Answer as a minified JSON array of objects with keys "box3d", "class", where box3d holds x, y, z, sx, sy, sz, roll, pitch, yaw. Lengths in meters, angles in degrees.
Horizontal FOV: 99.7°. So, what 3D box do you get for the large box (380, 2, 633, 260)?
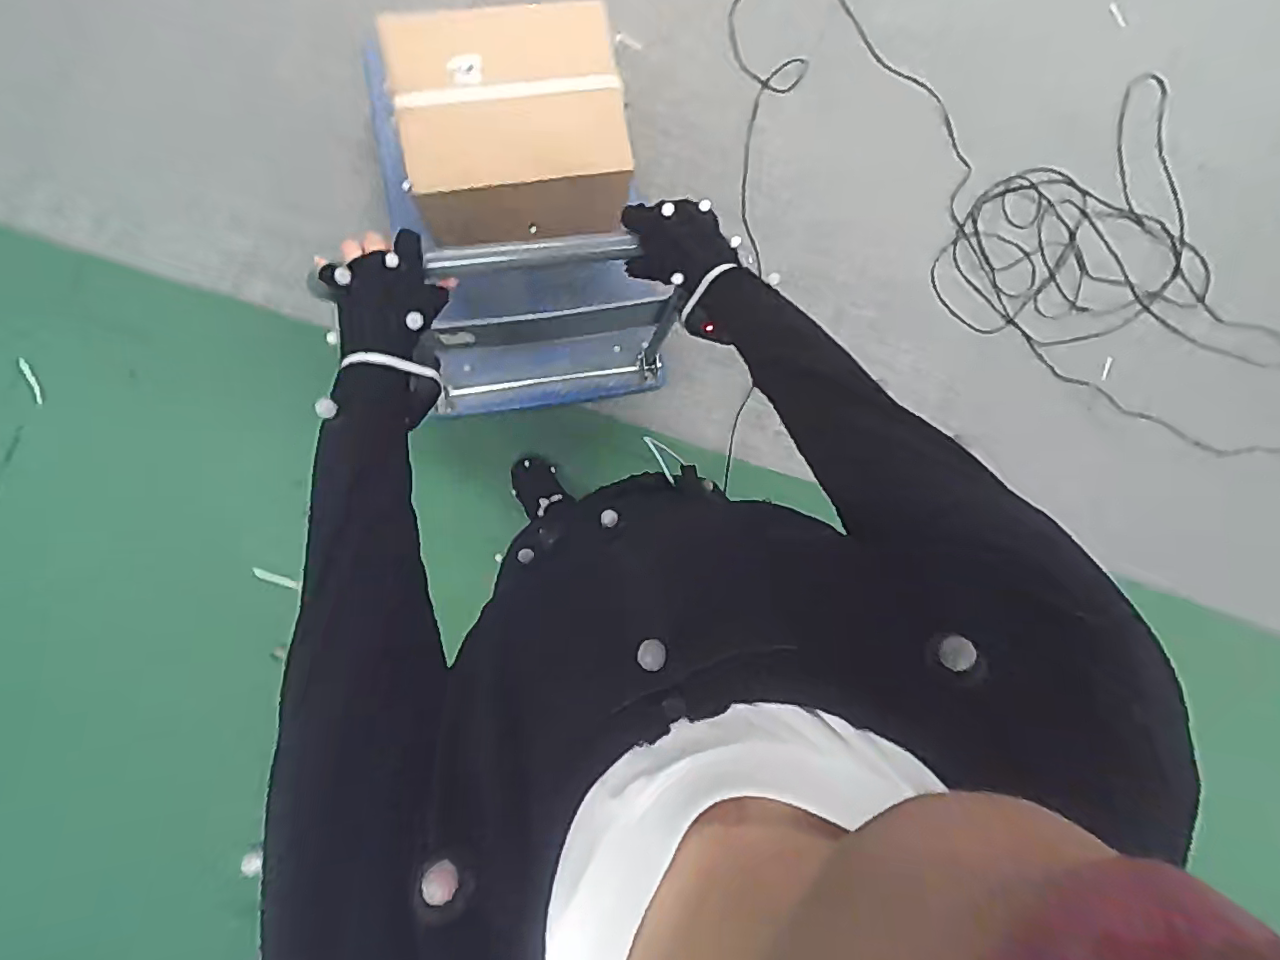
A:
[{"box3d":[-0.251,-0.689,1.120,0.408,0.320,0.320,-11,91,-7],"class":"large box"}]
